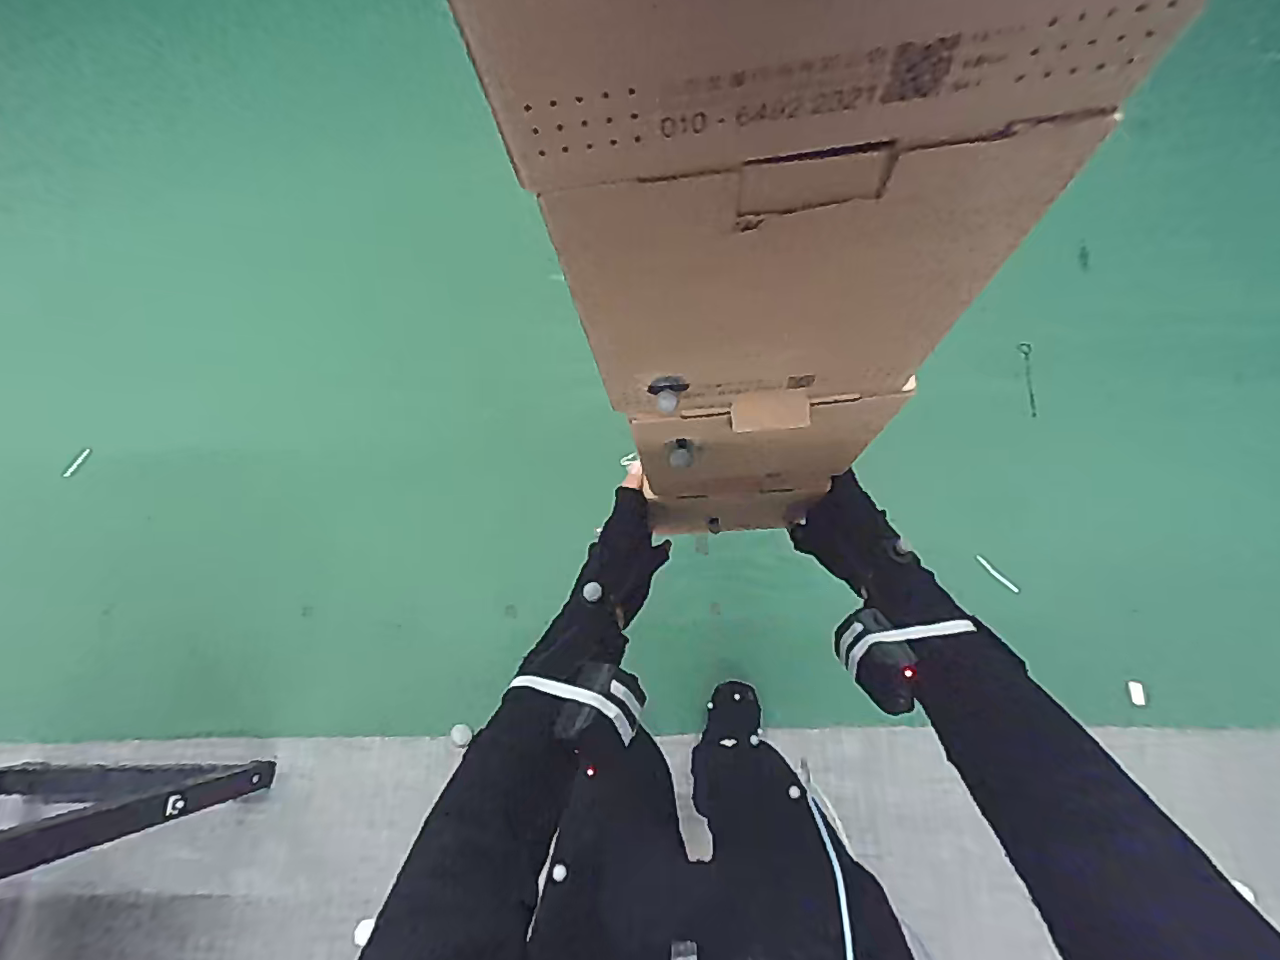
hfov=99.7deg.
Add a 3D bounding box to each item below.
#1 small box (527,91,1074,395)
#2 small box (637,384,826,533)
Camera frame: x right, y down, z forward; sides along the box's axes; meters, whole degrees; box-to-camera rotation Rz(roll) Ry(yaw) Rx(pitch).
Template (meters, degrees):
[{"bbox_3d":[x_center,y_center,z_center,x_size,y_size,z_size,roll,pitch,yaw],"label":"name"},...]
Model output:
[{"bbox_3d":[0.049,-0.152,0.263,0.168,0.176,0.179,-5,72,4],"label":"small box"},{"bbox_3d":[0.085,-0.048,0.574,0.168,0.176,0.179,-4,75,5],"label":"small box"}]
